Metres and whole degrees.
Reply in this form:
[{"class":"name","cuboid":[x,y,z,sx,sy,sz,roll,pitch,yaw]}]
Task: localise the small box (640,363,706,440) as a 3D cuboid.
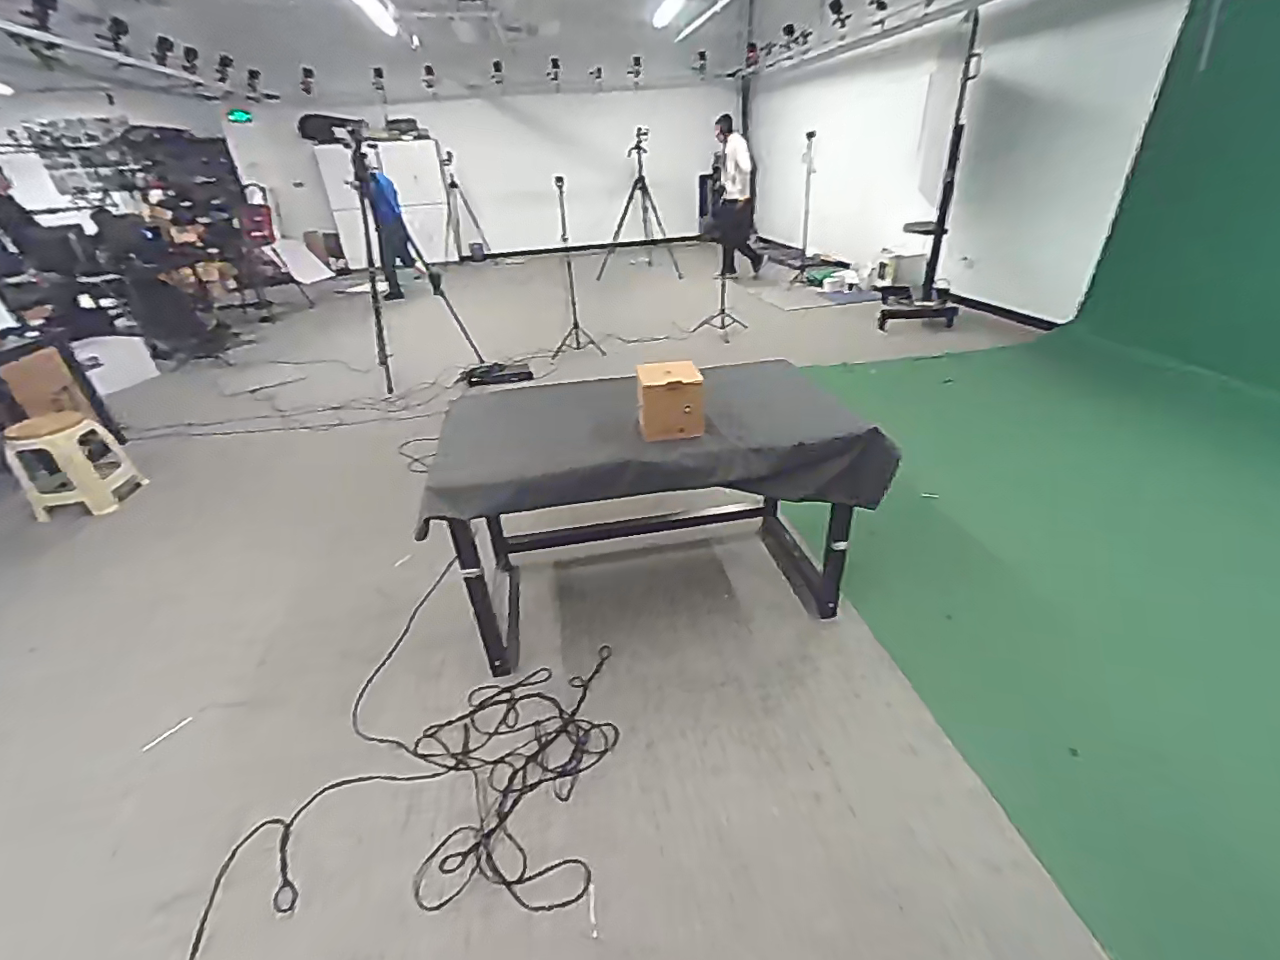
[{"class":"small box","cuboid":[0.092,-0.217,1.527,0.168,0.176,0.179,-5,29,-4]}]
